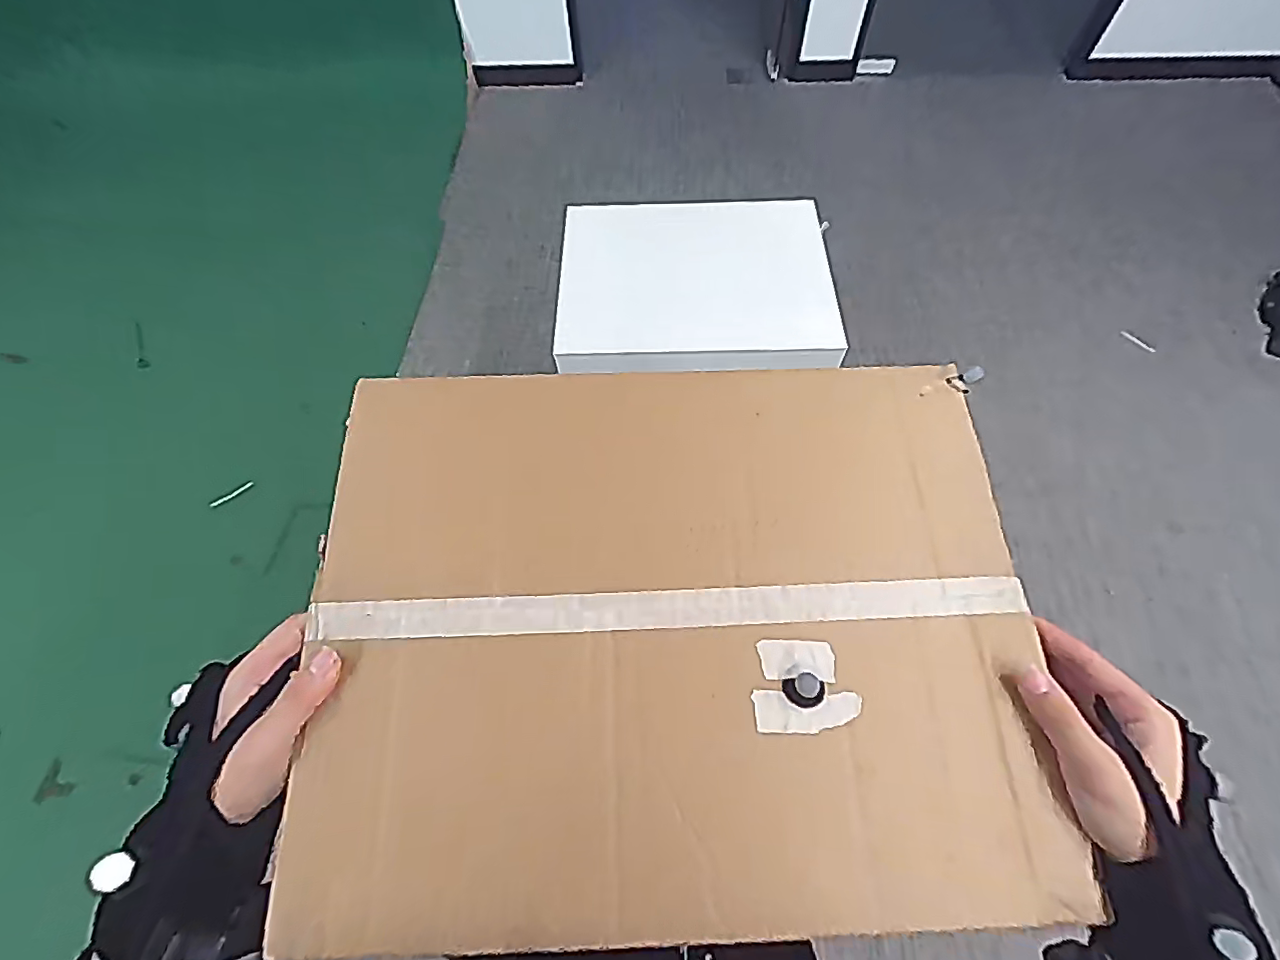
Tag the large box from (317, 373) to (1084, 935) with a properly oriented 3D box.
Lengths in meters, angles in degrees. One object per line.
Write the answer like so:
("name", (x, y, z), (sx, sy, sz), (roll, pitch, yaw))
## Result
("large box", (0.024, 0.127, 0.465), (0.408, 0.320, 0.320), (-2, 69, -2))
